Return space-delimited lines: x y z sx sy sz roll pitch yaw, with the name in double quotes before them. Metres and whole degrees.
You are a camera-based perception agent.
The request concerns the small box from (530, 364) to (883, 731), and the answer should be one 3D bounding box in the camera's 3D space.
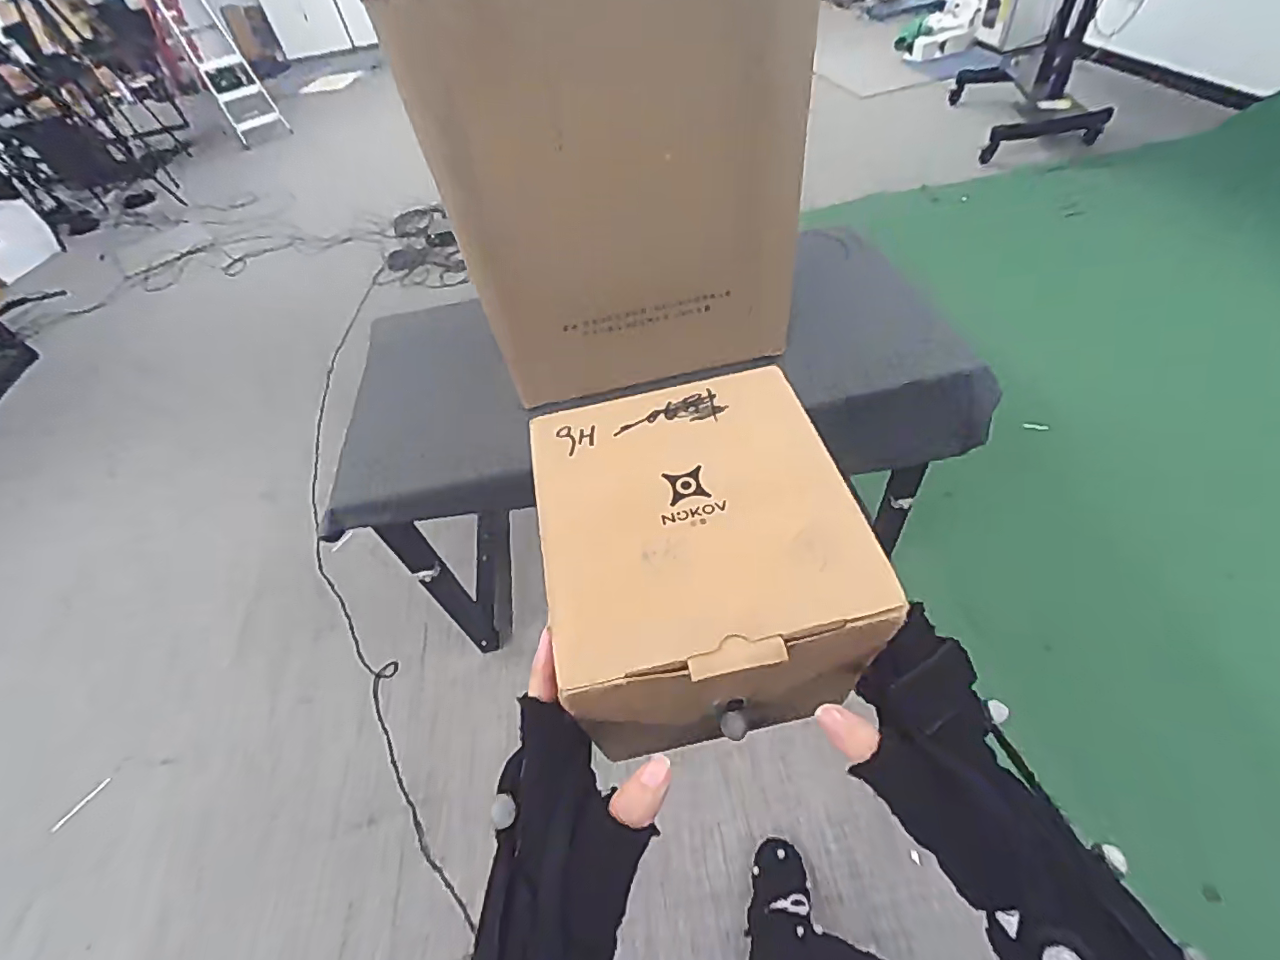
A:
"small box" 0.031 0.055 0.364 0.168 0.176 0.179 -11 54 -2
